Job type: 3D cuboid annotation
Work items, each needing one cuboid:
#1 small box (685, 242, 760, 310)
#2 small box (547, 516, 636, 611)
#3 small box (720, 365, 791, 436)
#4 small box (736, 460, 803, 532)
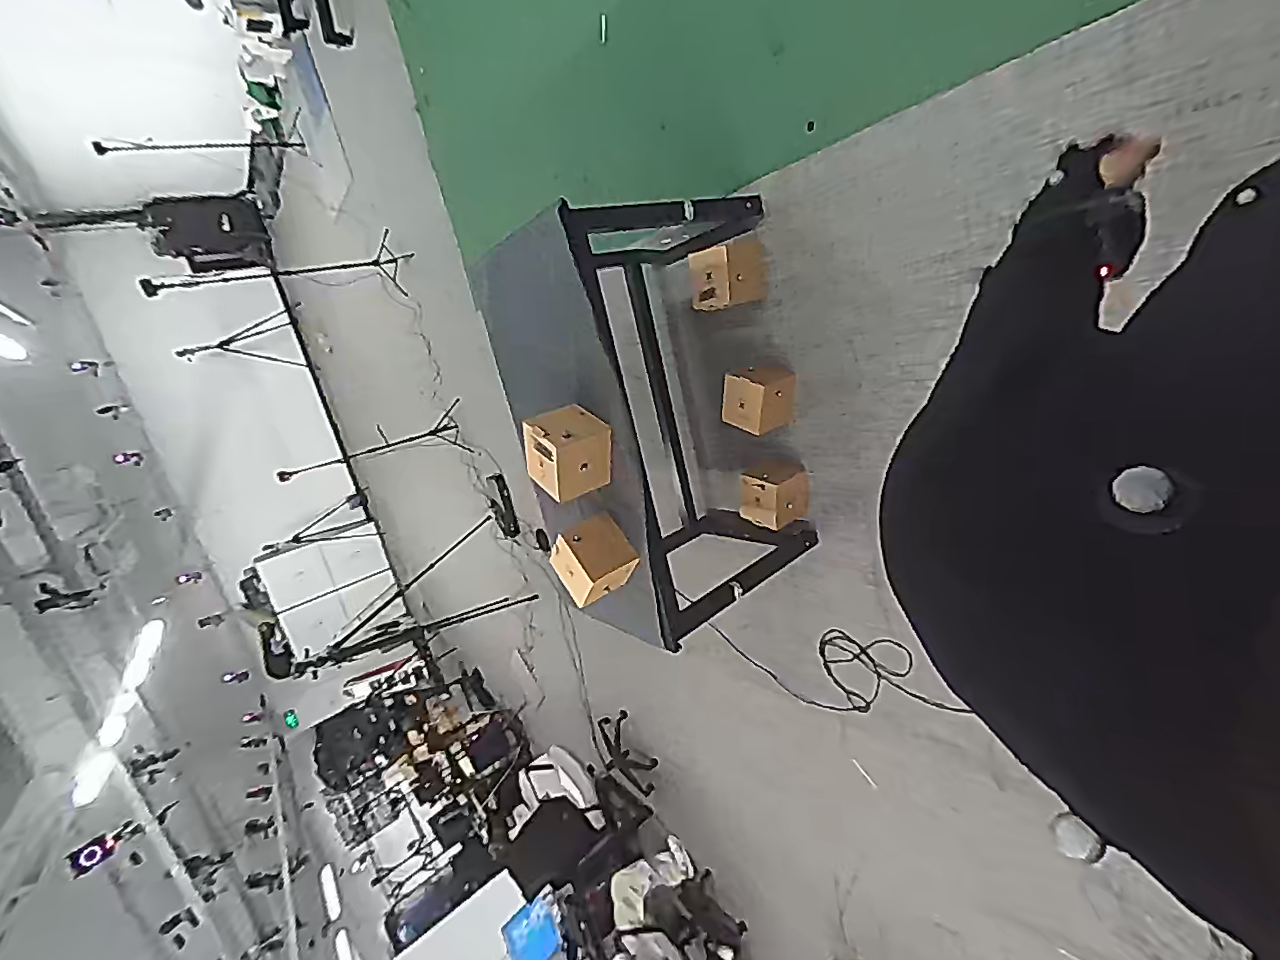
[{"bbox_3d":[0.272,-0.656,1.742,0.168,0.176,0.179,13,119,49],"label":"small box"},{"bbox_3d":[-0.135,0.231,1.526,0.179,0.176,0.168,52,143,20],"label":"small box"},{"bbox_3d":[0.388,-0.274,1.814,0.168,0.176,0.179,31,134,41],"label":"small box"},{"bbox_3d":[0.461,0.052,1.912,0.168,0.176,0.179,21,127,46],"label":"small box"}]
